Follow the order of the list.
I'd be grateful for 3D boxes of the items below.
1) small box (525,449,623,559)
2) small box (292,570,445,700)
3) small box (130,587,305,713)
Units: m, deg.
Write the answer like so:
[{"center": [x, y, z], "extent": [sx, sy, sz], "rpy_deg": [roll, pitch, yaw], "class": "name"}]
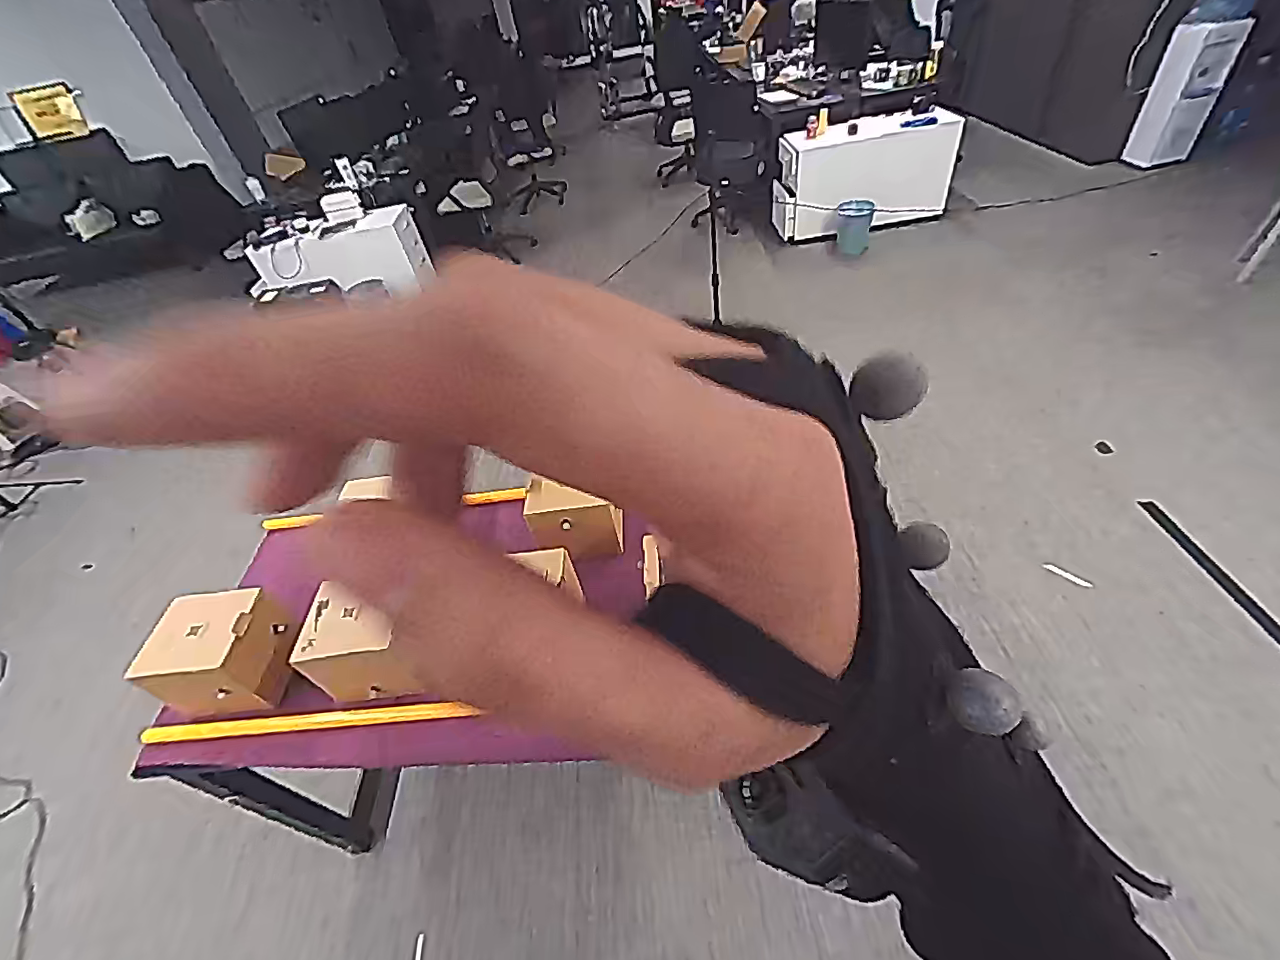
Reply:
[{"center": [-0.132, 0.057, 1.168], "extent": [0.179, 0.176, 0.168], "rpy_deg": [-8, 45, 5], "class": "small box"}, {"center": [-0.487, 0.290, 1.006], "extent": [0.179, 0.176, 0.168], "rpy_deg": [-8, 44, 3], "class": "small box"}, {"center": [-0.780, 0.326, 1.028], "extent": [0.179, 0.176, 0.168], "rpy_deg": [-6, 44, 2], "class": "small box"}]
